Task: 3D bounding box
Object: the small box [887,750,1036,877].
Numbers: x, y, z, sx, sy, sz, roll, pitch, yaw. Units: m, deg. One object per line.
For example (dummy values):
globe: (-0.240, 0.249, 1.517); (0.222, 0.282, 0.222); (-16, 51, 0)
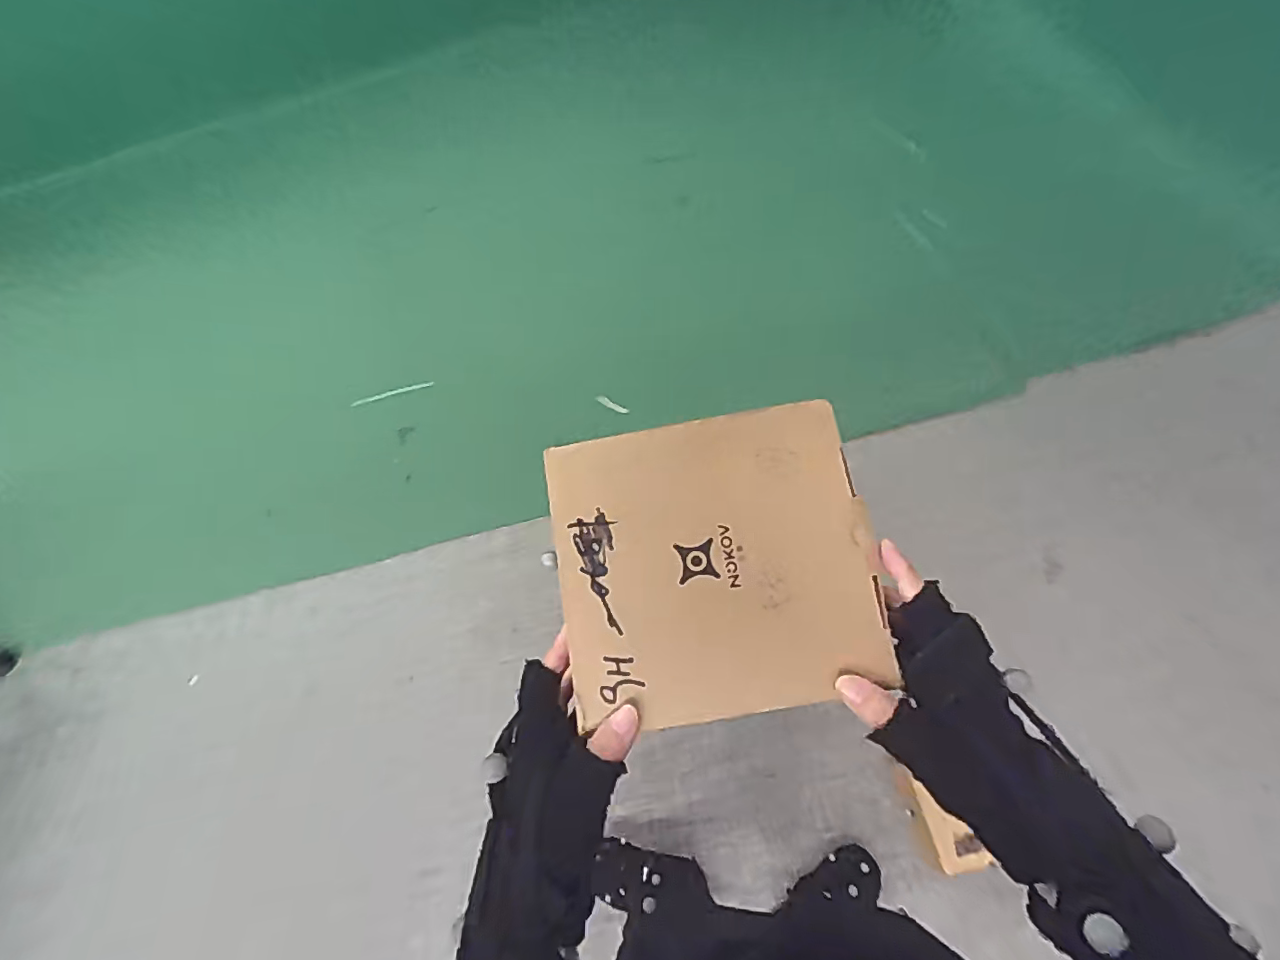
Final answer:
small box: (0.611, 0.640, 1.055); (0.168, 0.176, 0.179); (-16, 60, 3)
